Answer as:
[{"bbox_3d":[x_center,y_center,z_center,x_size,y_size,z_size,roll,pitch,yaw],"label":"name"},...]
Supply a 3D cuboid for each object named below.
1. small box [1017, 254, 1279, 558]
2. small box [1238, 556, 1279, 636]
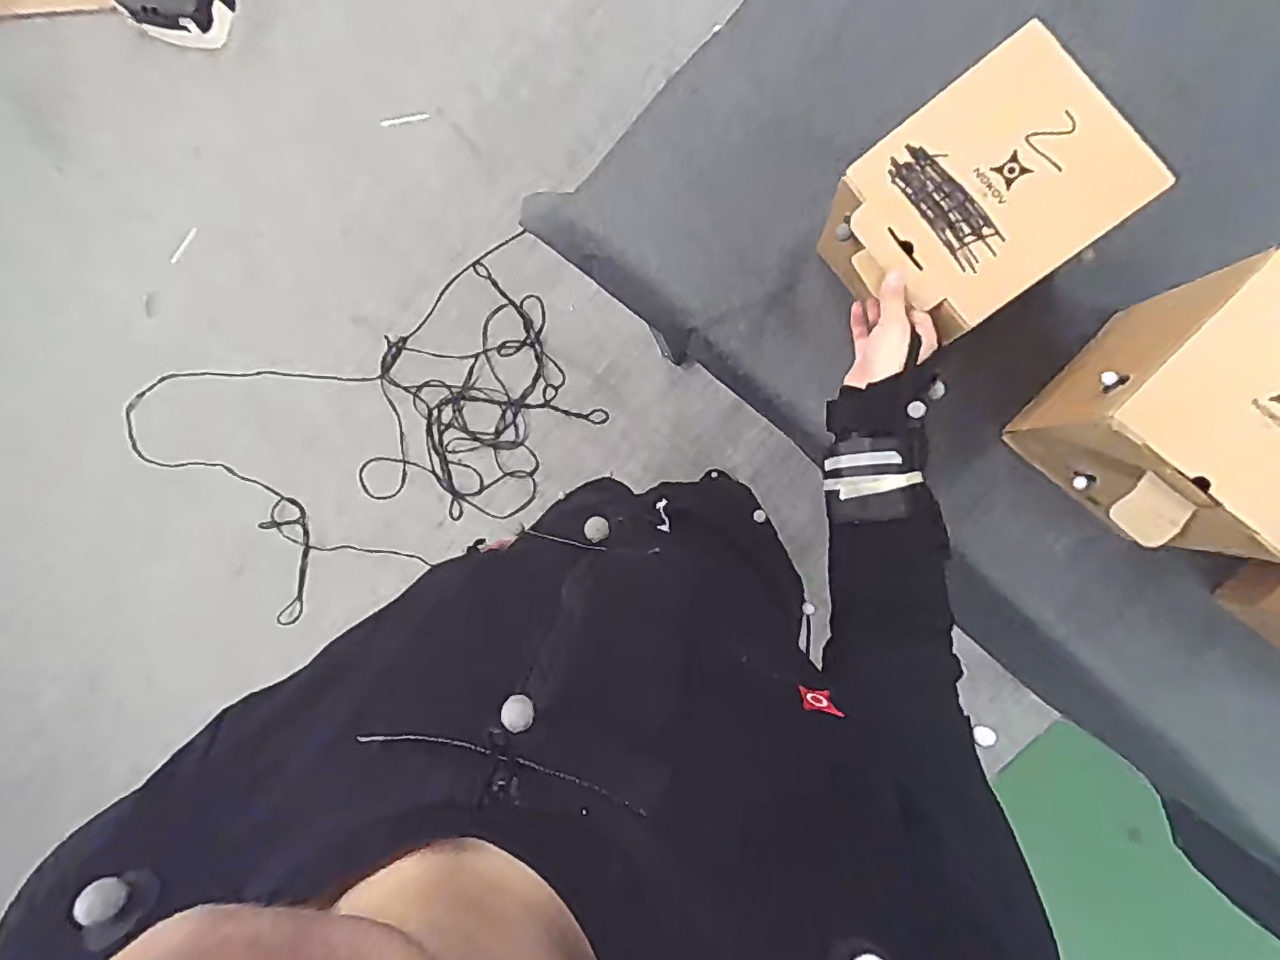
[{"bbox_3d":[0.490,-0.058,0.474,0.168,0.176,0.179,42,96,6],"label":"small box"},{"bbox_3d":[0.682,0.103,0.447,0.168,0.176,0.179,39,95,5],"label":"small box"}]
